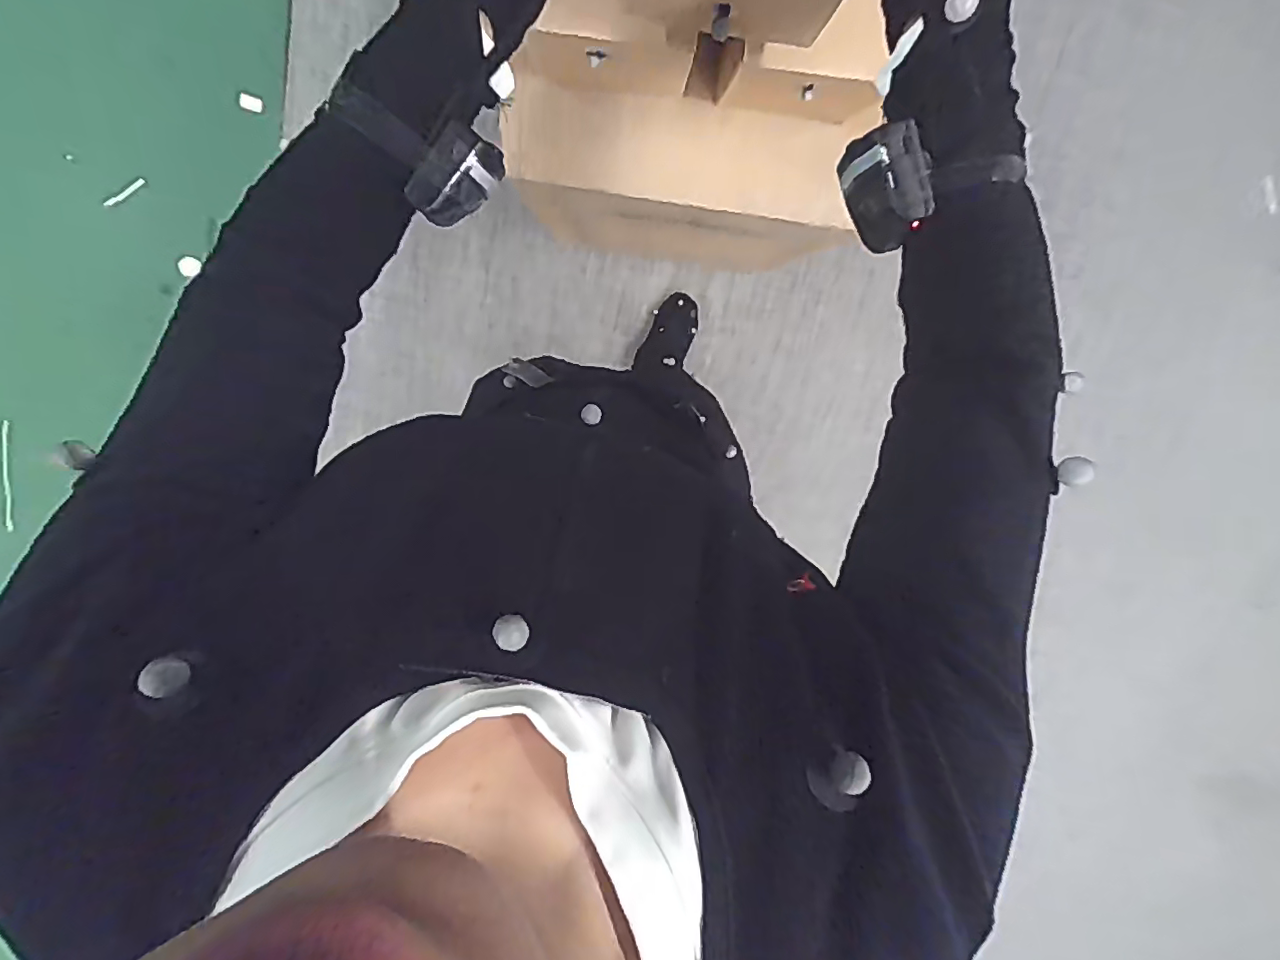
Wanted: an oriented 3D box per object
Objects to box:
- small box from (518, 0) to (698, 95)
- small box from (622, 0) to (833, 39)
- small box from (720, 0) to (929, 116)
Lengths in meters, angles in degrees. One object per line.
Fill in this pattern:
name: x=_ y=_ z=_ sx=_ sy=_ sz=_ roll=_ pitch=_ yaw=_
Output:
small box: x=-0.023 y=-0.532 z=0.569 sx=0.179 sy=0.176 sz=0.168 roll=5 pitch=112 yaw=-4
small box: x=0.079 y=-0.451 z=0.382 sx=0.179 sy=0.176 sz=0.168 roll=6 pitch=108 yaw=-2
small box: x=0.190 y=-0.511 z=0.580 sx=0.179 sy=0.176 sz=0.168 roll=4 pitch=113 yaw=-3
